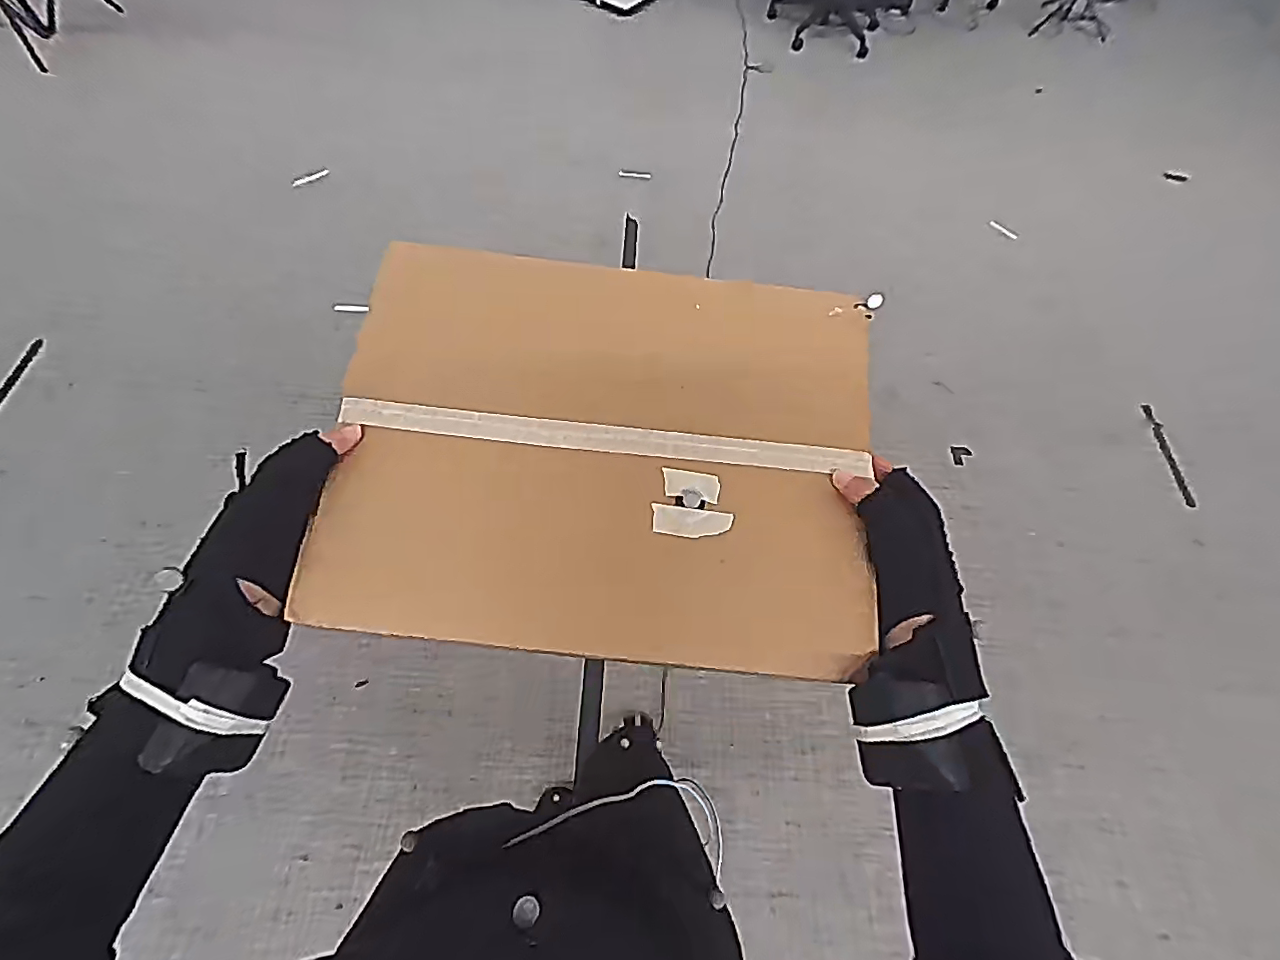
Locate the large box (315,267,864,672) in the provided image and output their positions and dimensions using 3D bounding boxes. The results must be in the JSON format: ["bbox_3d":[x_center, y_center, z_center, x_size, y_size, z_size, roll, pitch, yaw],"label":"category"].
[{"bbox_3d":[-0.030,0.019,0.572,0.408,0.320,0.320,6,73,-1],"label":"large box"}]
